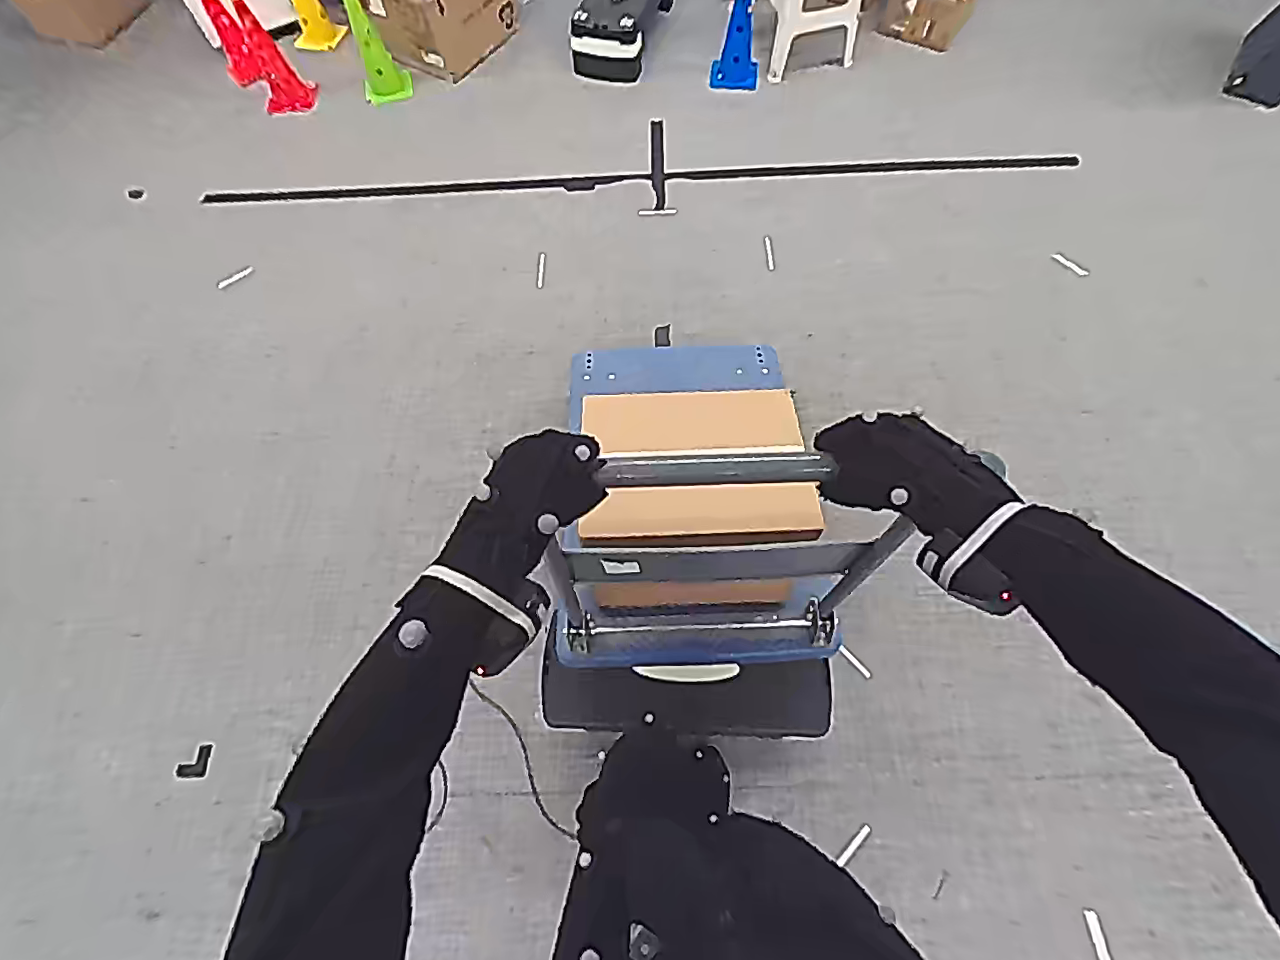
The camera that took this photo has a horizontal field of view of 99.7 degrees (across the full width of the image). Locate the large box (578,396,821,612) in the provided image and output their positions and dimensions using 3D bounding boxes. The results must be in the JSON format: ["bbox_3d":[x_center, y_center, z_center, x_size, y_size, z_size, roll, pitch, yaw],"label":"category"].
[{"bbox_3d":[0.090,0.055,1.076,0.408,0.320,0.320,-2,56,-1],"label":"large box"}]
